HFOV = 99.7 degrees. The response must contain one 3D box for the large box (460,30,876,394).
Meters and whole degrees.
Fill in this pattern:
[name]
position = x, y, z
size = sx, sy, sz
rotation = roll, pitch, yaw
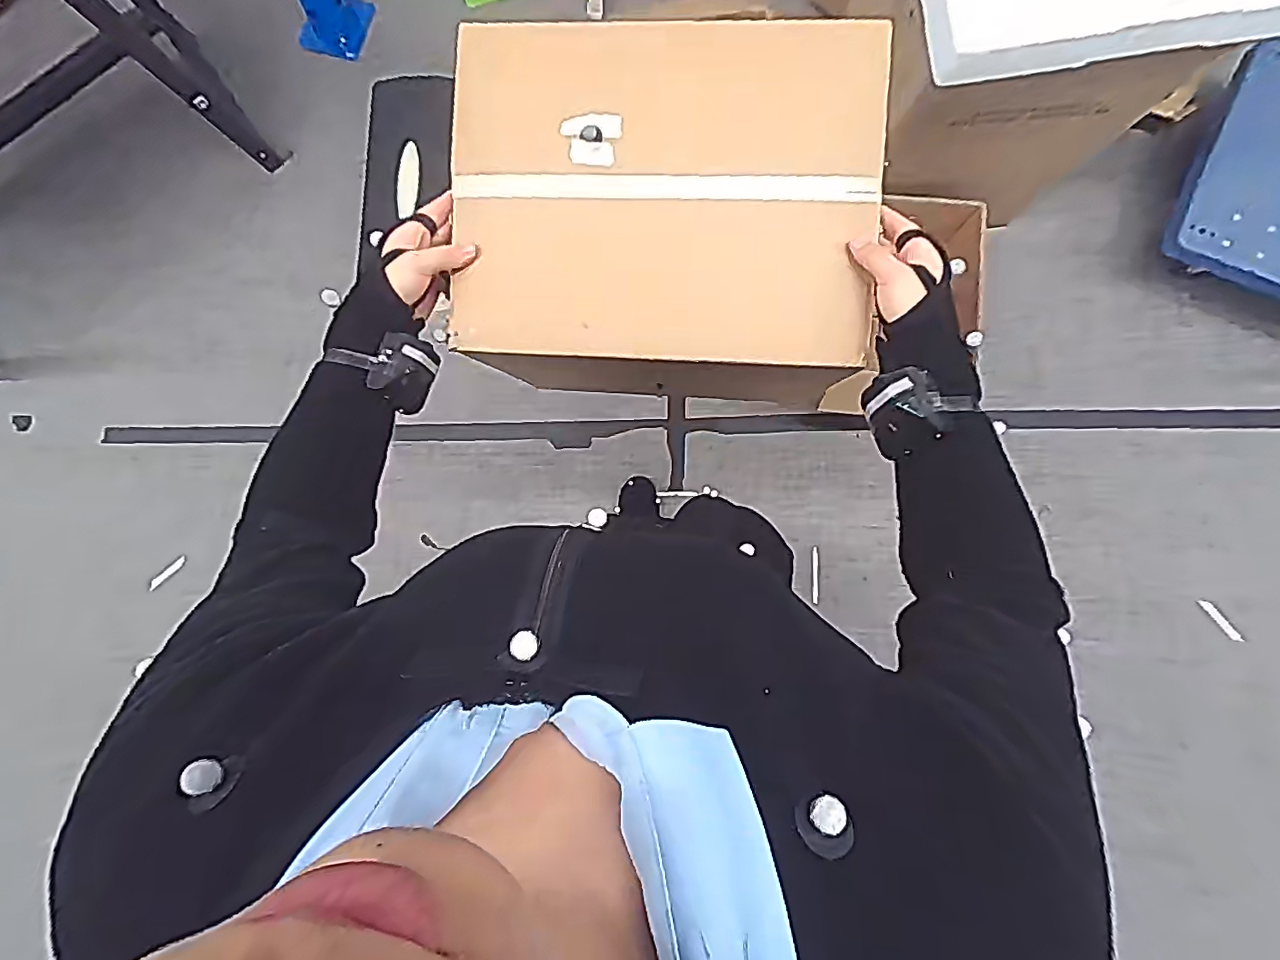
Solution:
[large box]
position = 0.034, -0.279, 0.674
size = 0.408, 0.320, 0.320
rotation = 3, 91, 5
